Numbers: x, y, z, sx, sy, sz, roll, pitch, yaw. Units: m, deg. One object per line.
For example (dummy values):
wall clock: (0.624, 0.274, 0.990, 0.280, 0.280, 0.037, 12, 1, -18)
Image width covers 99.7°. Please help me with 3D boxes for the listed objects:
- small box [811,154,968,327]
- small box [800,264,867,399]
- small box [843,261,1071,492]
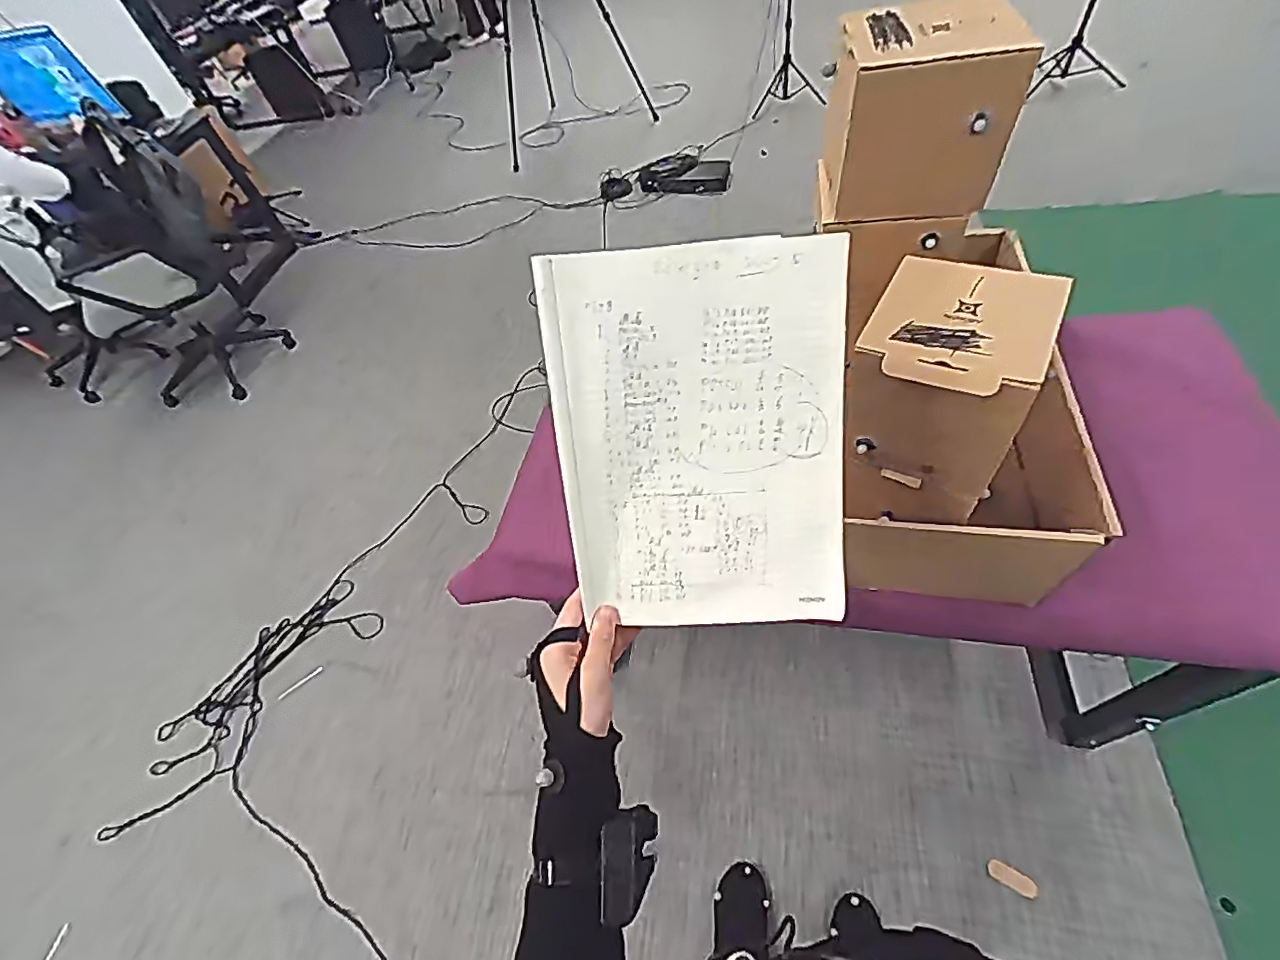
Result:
small box: (0.342, -0.339, 0.783, 0.179, 0.176, 0.168, 2, 56, 13)
small box: (0.365, -0.249, 0.915, 0.168, 0.176, 0.179, 4, 57, 14)
small box: (0.341, -0.115, 0.609, 0.168, 0.176, 0.179, 22, 59, 27)
